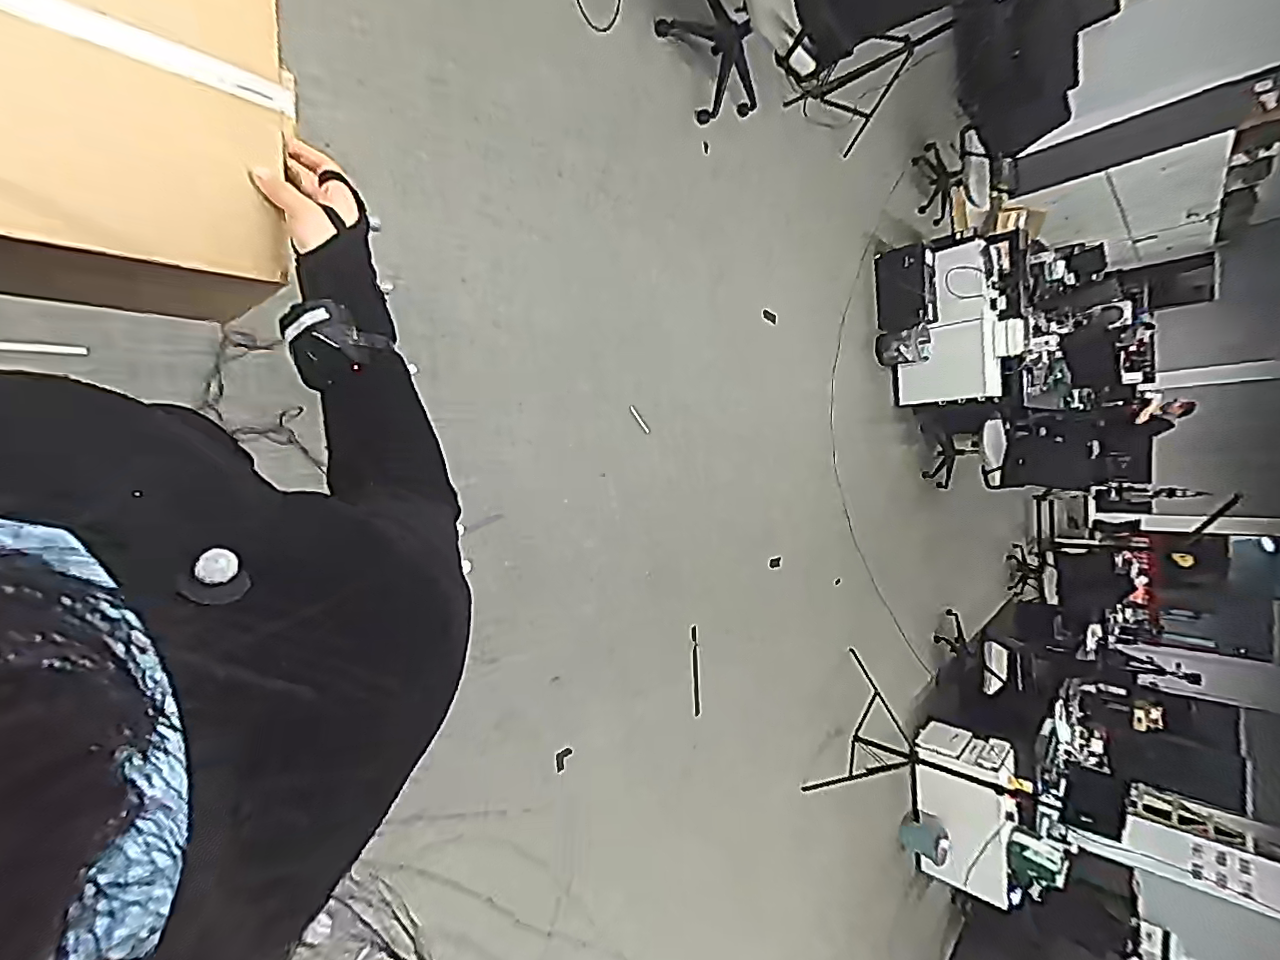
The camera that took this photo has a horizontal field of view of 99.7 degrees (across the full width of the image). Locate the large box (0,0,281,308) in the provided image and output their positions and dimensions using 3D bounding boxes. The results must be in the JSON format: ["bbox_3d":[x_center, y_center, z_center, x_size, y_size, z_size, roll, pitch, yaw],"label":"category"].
[{"bbox_3d":[-0.570,-0.343,0.448,0.408,0.320,0.320,-4,97,-44],"label":"large box"}]
